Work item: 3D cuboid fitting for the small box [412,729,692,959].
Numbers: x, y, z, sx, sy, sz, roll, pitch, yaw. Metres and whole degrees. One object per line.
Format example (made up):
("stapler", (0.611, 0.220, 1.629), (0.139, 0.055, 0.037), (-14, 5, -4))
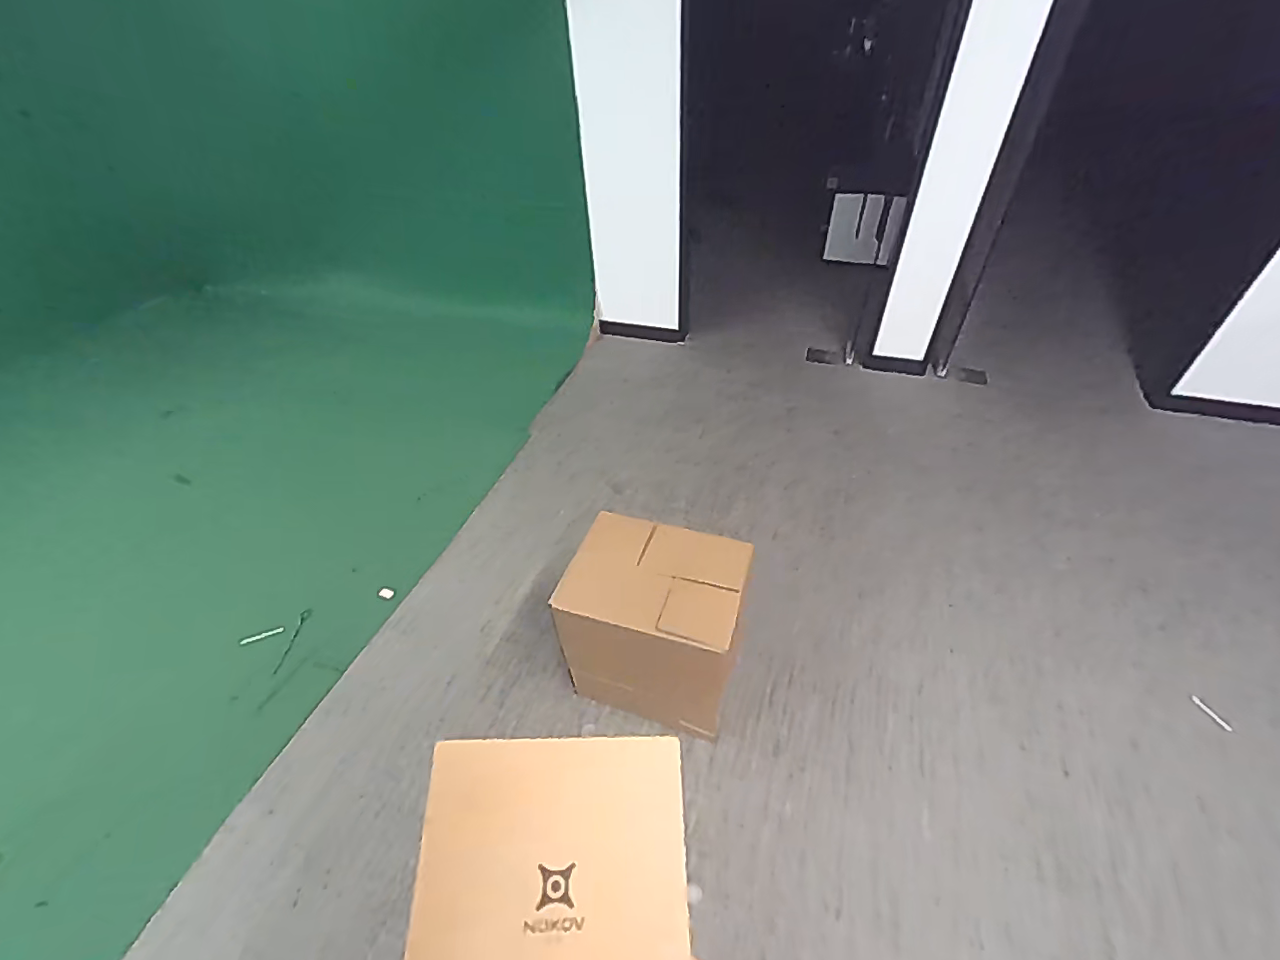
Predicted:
("small box", (-0.062, 0.288, 0.401), (0.168, 0.176, 0.179), (3, 62, -8))
